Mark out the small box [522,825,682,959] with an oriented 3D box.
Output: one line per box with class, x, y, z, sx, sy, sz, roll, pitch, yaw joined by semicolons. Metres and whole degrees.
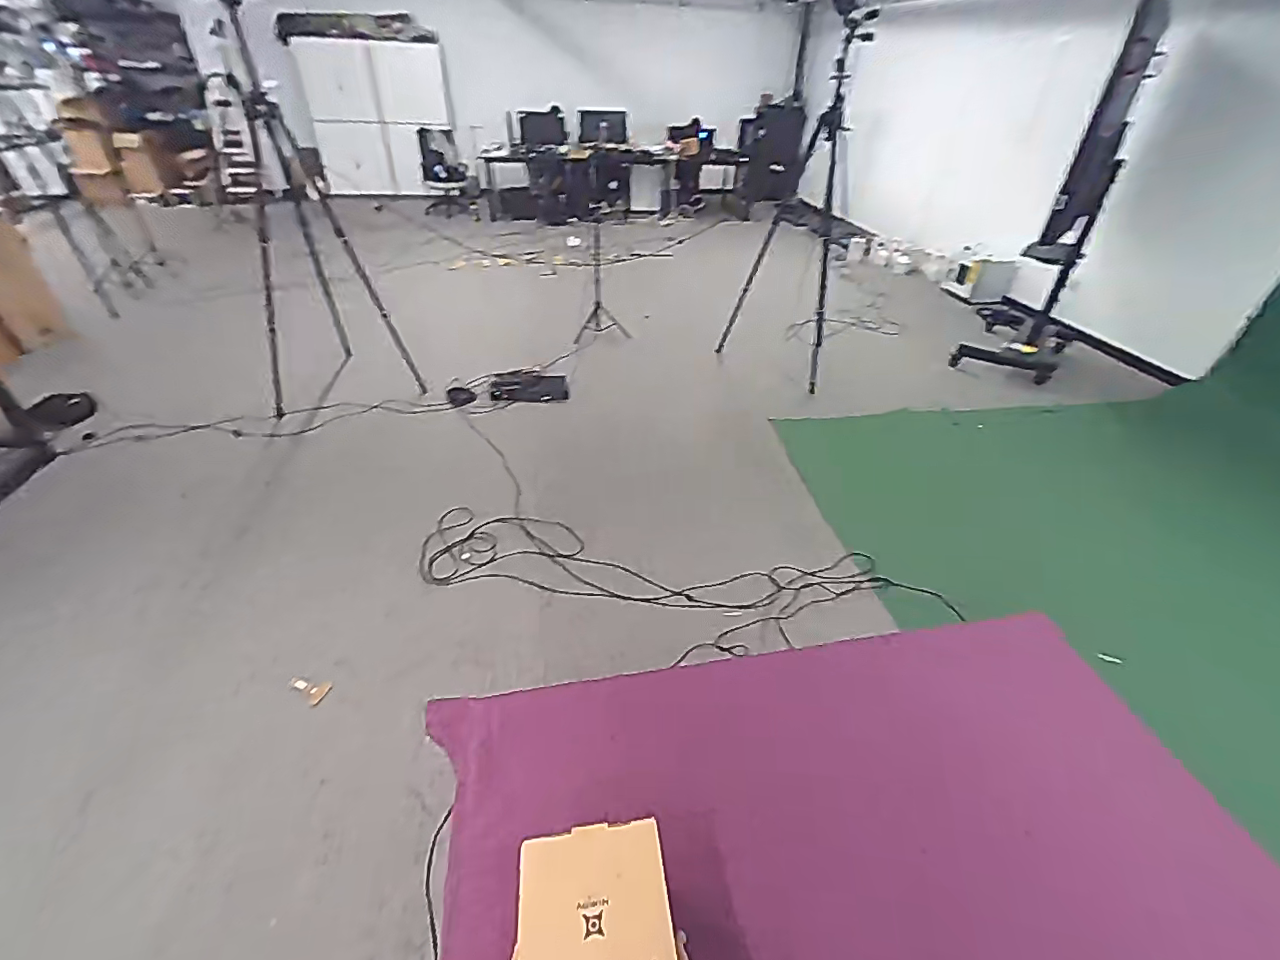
small box;-0.038;0.537;0.619;0.168;0.176;0.179;-8;35;-4
